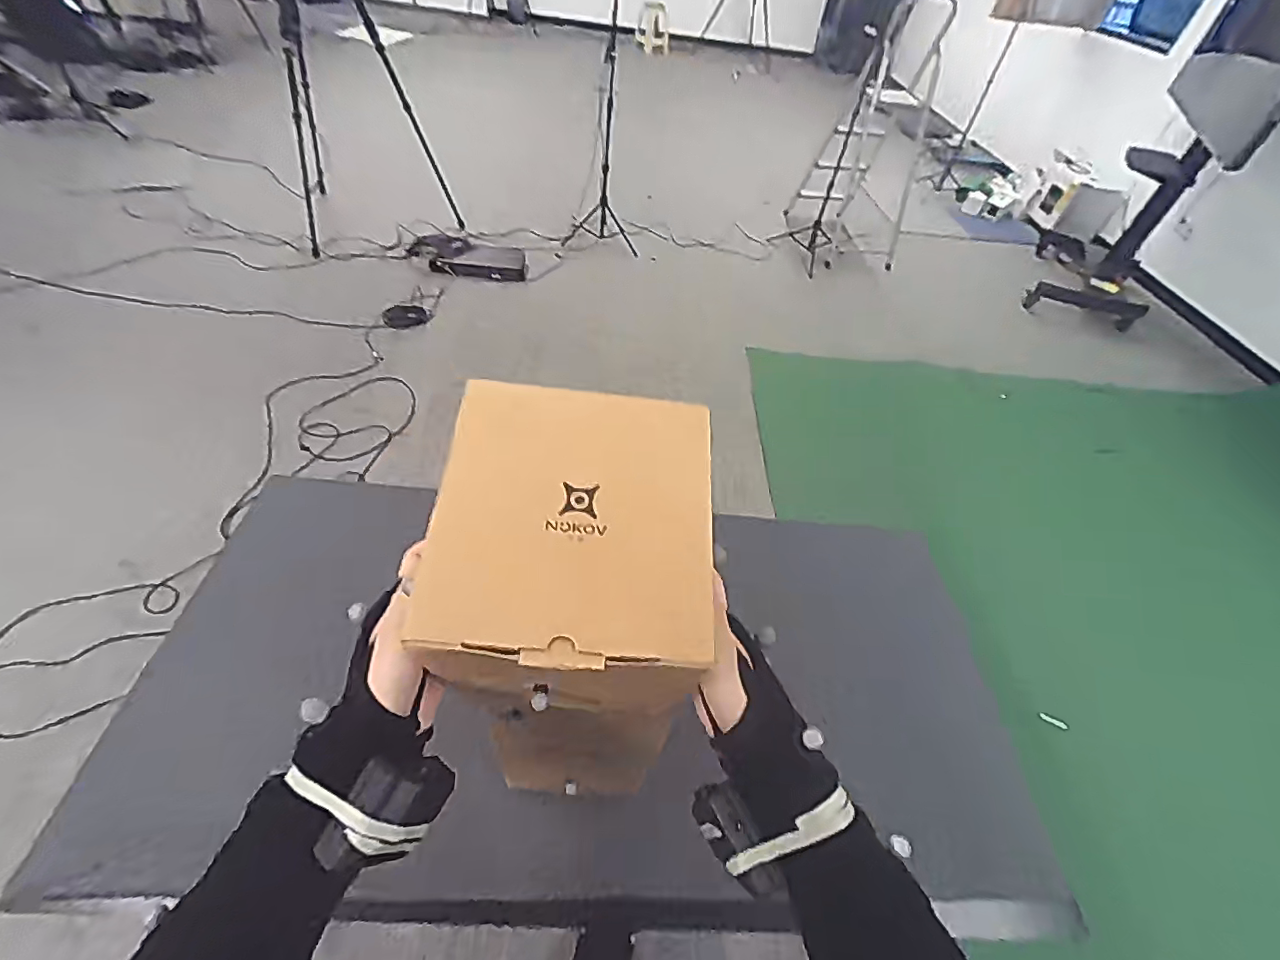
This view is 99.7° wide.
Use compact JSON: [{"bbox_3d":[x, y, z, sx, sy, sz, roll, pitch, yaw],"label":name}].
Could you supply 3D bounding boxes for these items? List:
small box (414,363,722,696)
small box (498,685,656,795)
[{"bbox_3d":[-0.043,0.045,0.393,0.168,0.176,0.179,6,58,-5],"label":"small box"},{"bbox_3d":[-0.071,0.266,0.670,0.168,0.176,0.179,6,47,-3],"label":"small box"}]
